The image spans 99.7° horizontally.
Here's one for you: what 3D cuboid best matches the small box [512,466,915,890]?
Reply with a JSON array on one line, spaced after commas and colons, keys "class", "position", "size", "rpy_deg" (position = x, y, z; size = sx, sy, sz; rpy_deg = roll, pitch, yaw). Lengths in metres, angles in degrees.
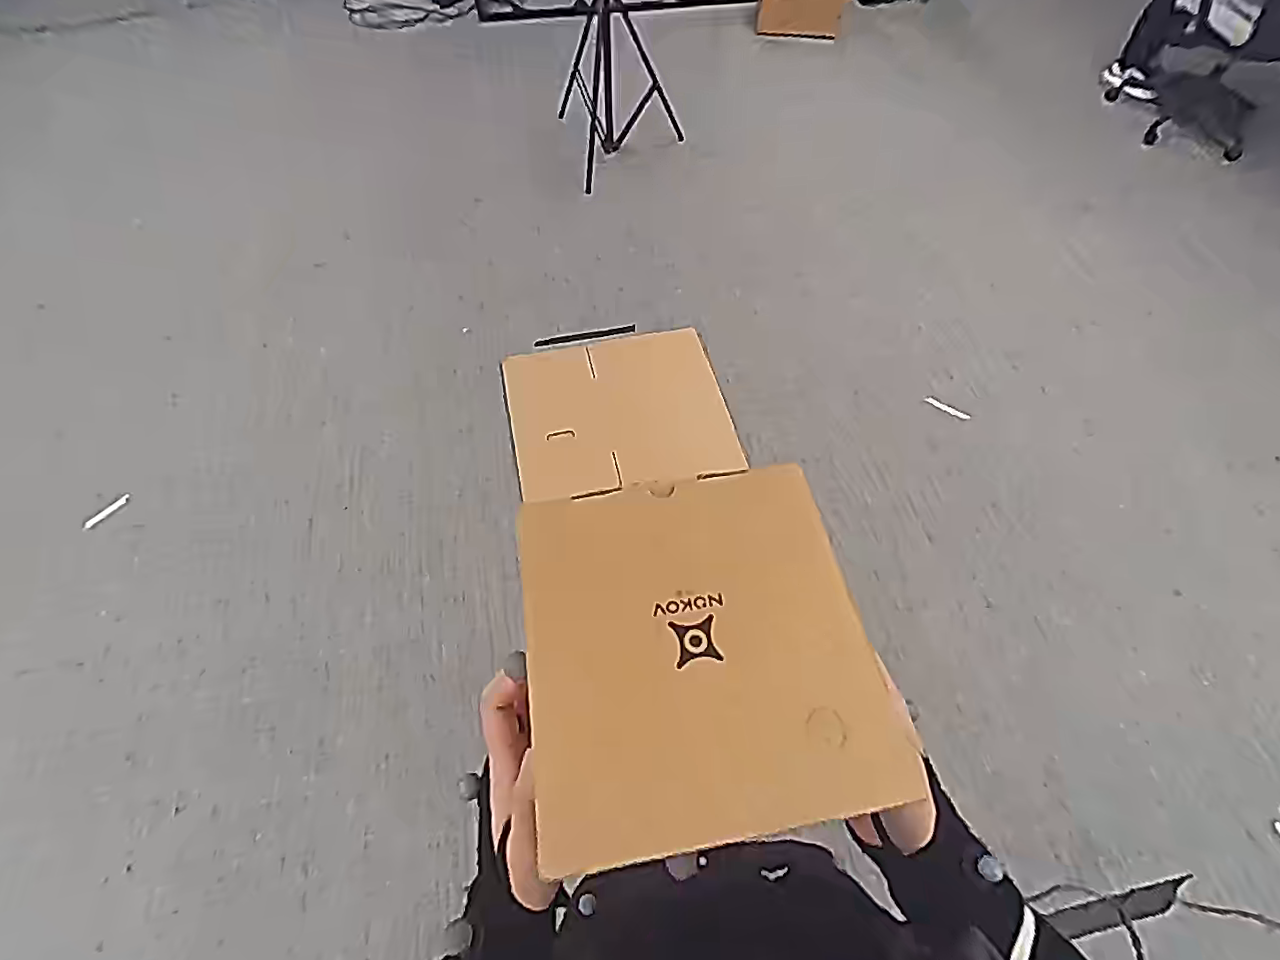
[{"class": "small box", "position": [0.025, 0.118, 0.330], "size": [0.168, 0.176, 0.179], "rpy_deg": [-9, 58, -5]}]
